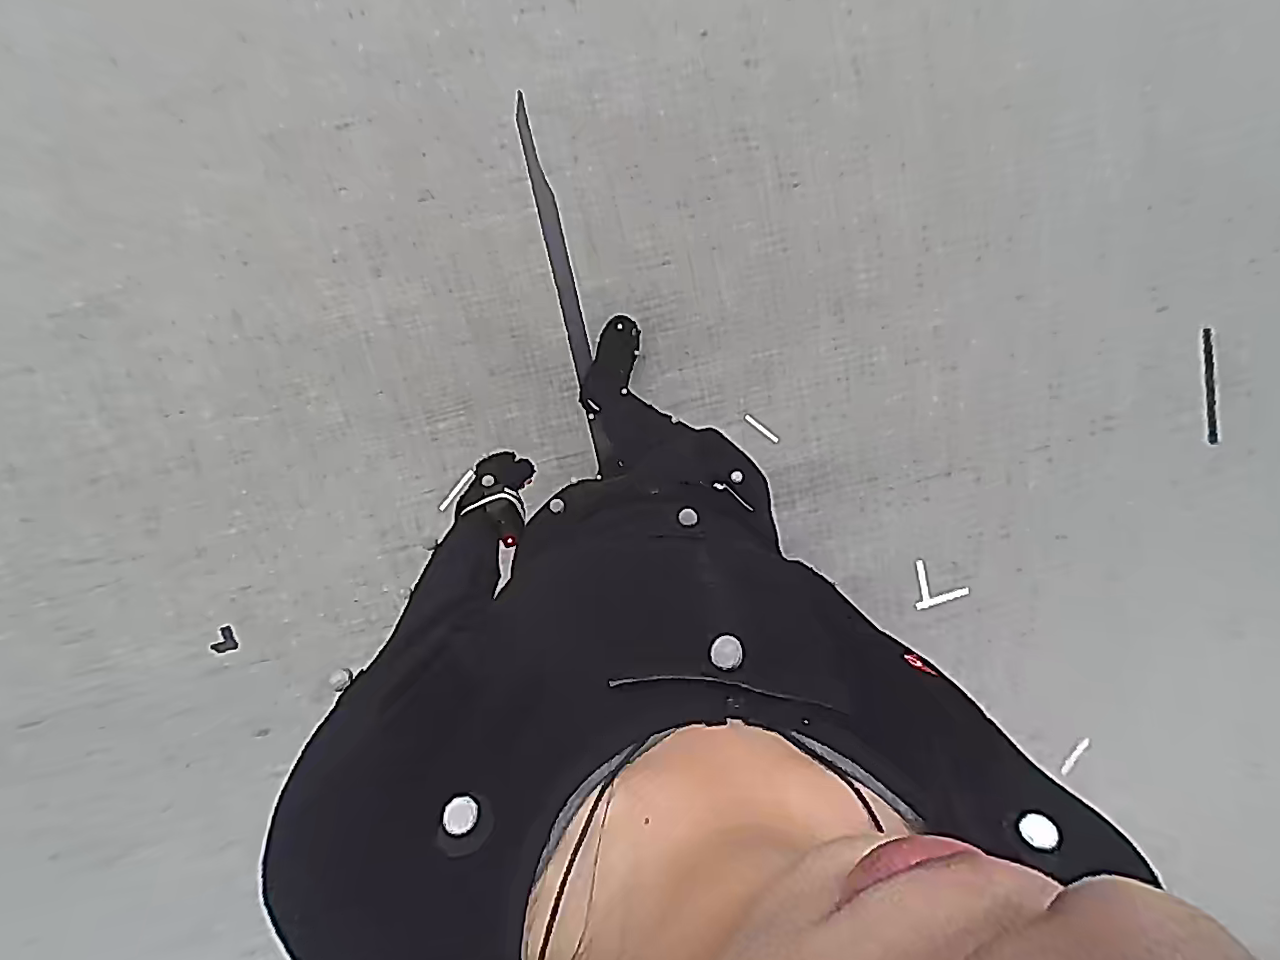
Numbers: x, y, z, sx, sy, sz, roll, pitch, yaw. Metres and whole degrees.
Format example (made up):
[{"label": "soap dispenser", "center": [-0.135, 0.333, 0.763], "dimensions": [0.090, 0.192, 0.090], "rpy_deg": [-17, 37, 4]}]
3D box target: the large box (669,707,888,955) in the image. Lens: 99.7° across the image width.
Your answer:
[{"label": "large box", "center": [0.324, 0.846, 1.351], "dimensions": [0.408, 0.320, 0.320], "rpy_deg": [-20, 100, -1]}]
